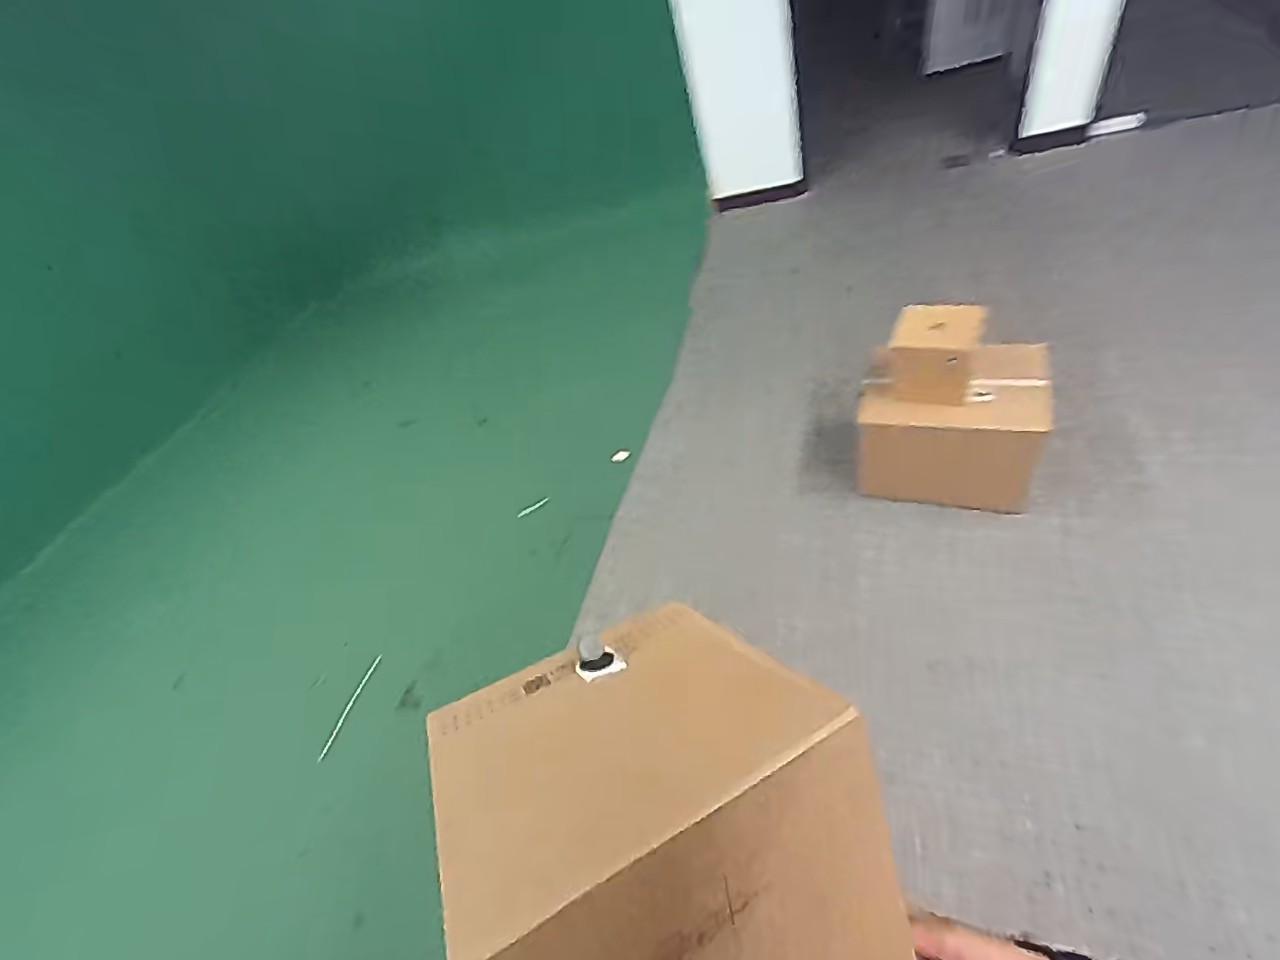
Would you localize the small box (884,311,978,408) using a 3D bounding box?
[{"bbox_3d":[0.708,-0.295,1.327,0.179,0.176,0.168,12,55,29],"label":"small box"}]

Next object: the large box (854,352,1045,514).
[{"bbox_3d":[0.816,-0.133,1.480,0.408,0.320,0.320,7,54,26],"label":"large box"}]
